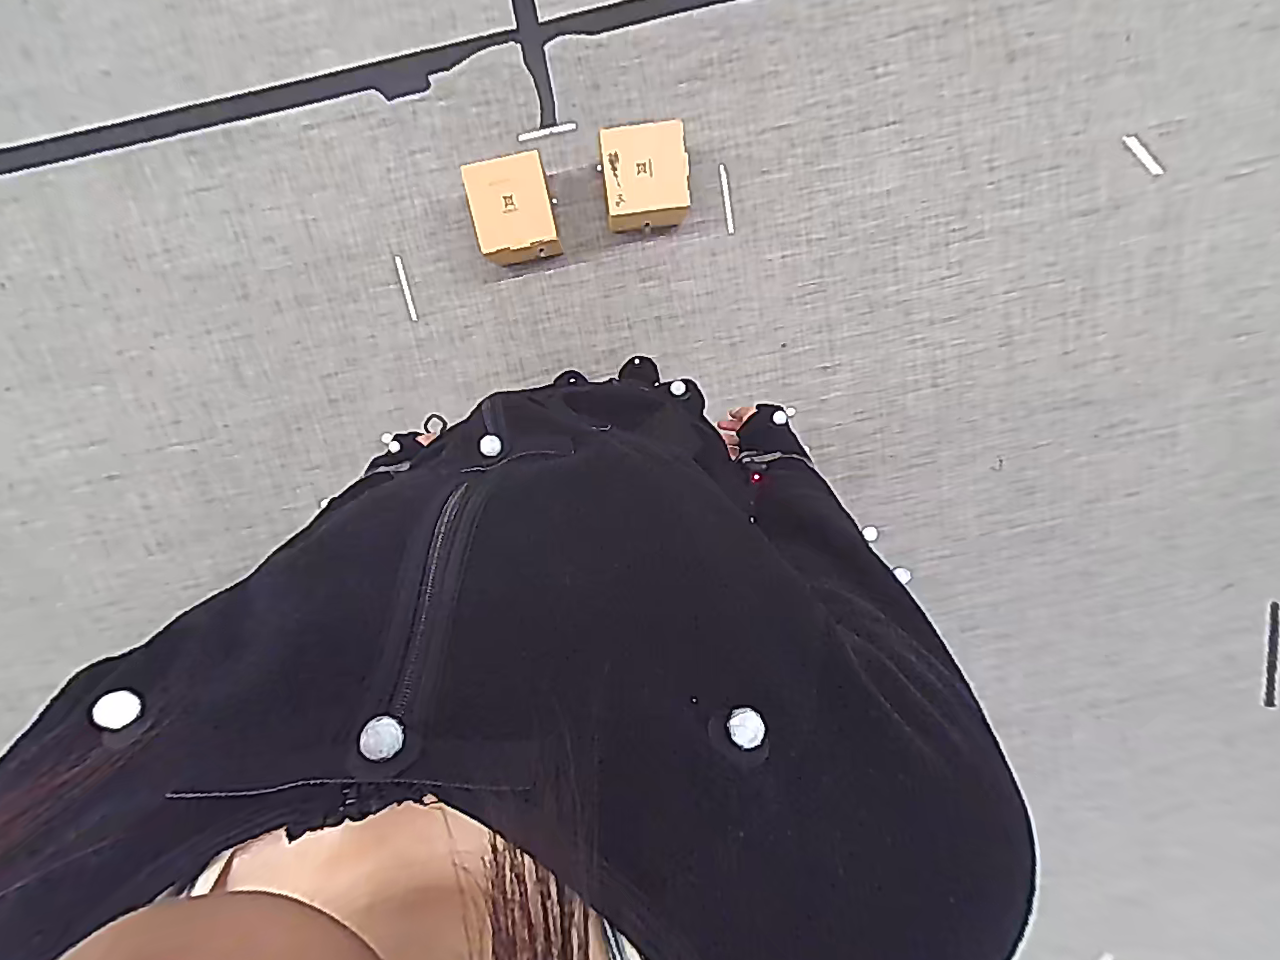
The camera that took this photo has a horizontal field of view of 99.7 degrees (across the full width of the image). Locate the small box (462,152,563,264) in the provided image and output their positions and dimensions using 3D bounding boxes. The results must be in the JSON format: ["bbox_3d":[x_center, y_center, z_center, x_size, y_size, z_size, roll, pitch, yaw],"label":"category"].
[{"bbox_3d":[-0.273,-0.590,1.200,0.168,0.176,0.179,-13,103,-1],"label":"small box"}]

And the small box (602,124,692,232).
[{"bbox_3d":[0.010,-0.659,1.198,0.179,0.176,0.168,-7,104,-2],"label":"small box"}]

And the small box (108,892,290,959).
[{"bbox_3d":[-0.633,0.717,0.743,0.179,0.176,0.168,-11,105,0],"label":"small box"}]
